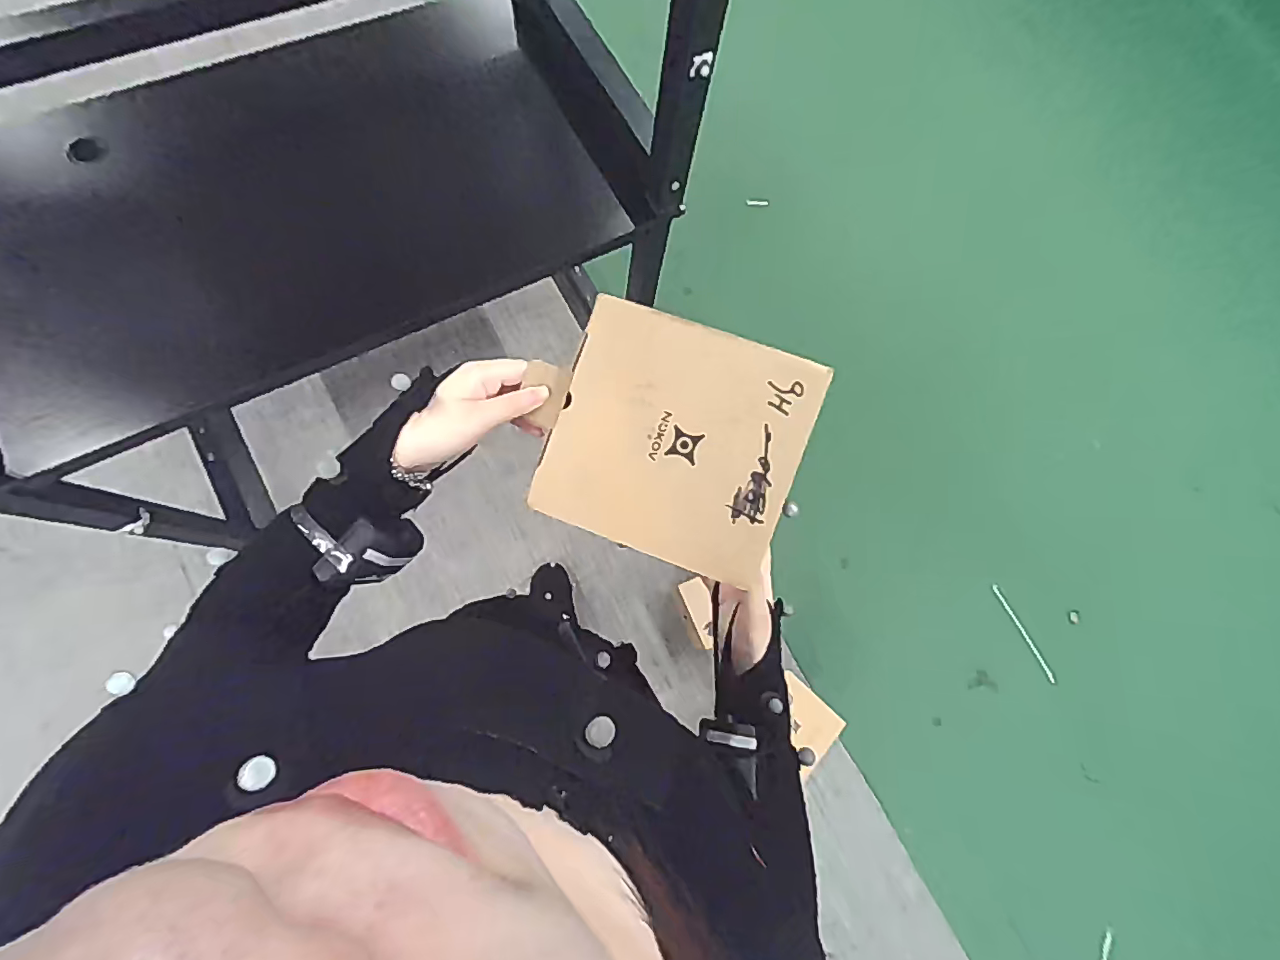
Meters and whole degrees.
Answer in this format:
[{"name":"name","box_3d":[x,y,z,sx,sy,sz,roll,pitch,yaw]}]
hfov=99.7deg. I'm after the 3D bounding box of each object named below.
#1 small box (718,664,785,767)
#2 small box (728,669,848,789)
[{"name":"small box","box_3d":[0.325,0.593,1.393,0.168,0.176,0.179,-34,83,-11]},{"name":"small box","box_3d":[0.326,0.554,1.235,0.179,0.176,0.168,42,78,4]}]
